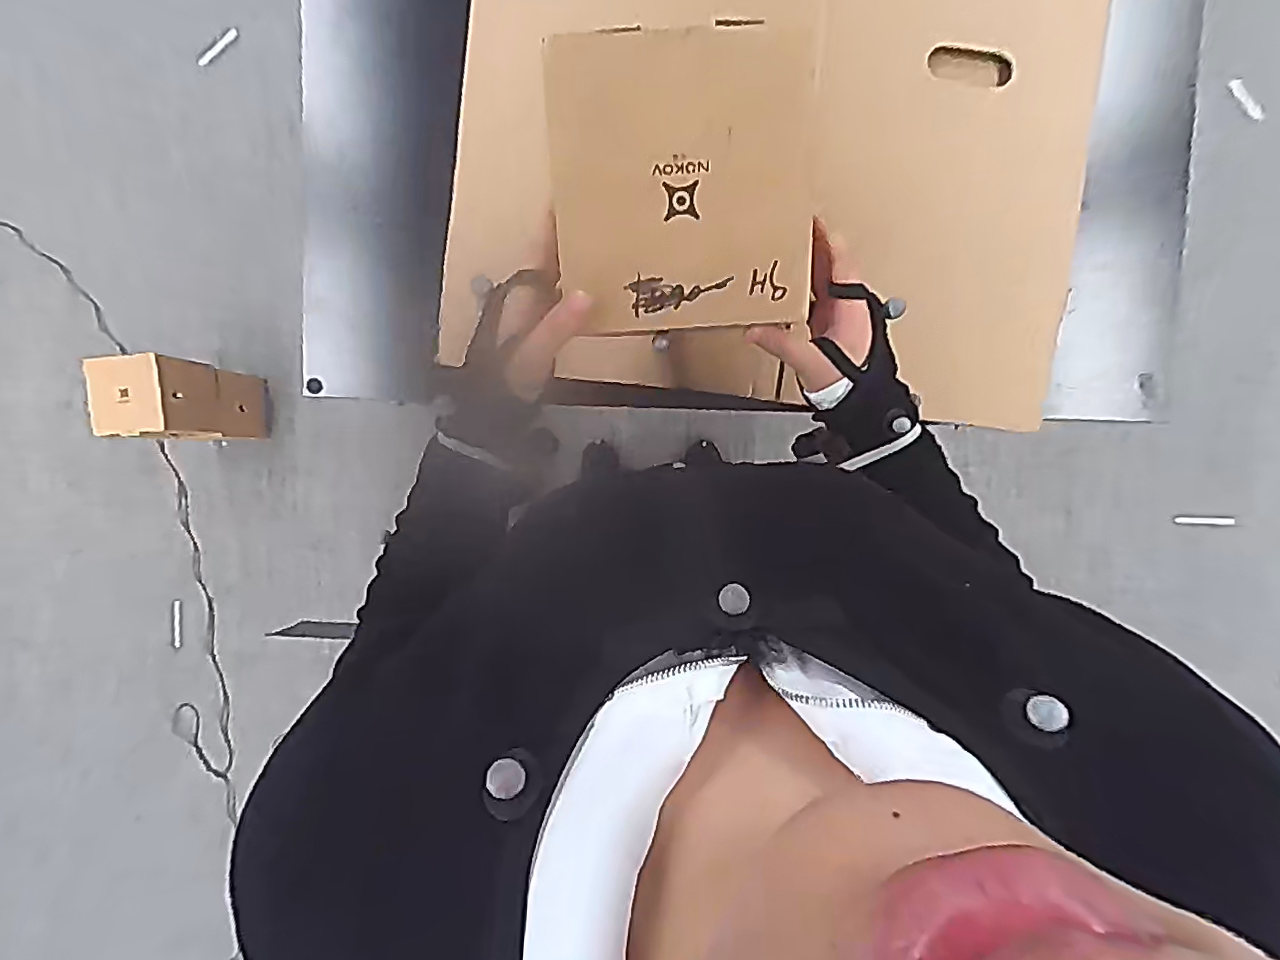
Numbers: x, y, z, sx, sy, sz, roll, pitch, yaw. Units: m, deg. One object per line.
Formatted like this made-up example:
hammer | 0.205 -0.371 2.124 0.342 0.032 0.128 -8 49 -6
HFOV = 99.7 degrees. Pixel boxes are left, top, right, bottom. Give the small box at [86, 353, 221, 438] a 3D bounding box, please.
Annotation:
small box | -1.137 -0.192 1.278 0.168 0.176 0.179 -5 92 1

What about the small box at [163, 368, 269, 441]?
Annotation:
small box | -1.130 -0.195 1.440 0.168 0.176 0.179 -2 94 2

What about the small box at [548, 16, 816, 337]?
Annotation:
small box | 0.028 -0.207 0.419 0.168 0.176 0.179 -3 104 2
